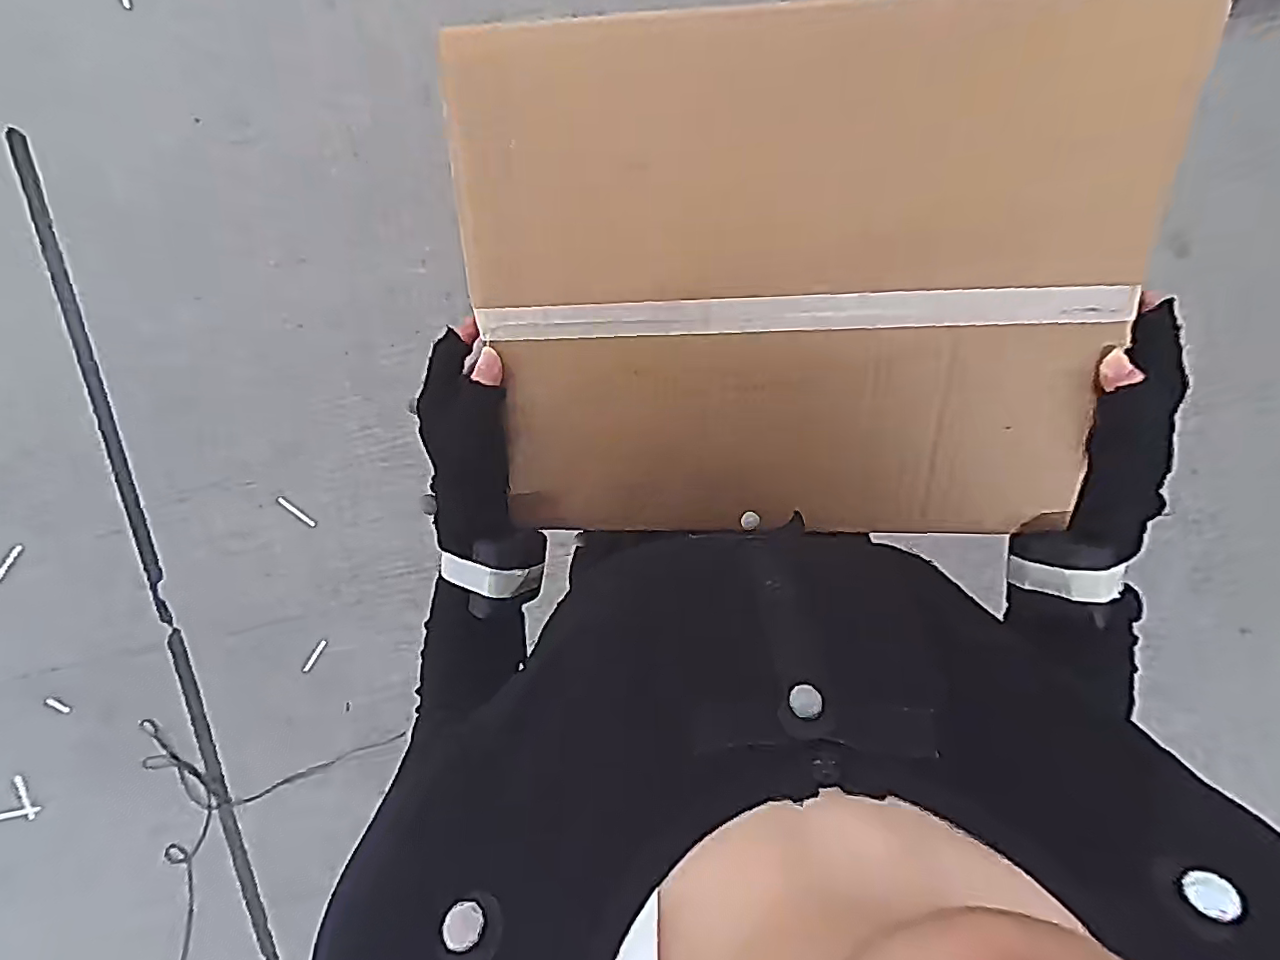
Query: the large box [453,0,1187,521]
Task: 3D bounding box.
[{"bbox_3d":[0.103,-0.171,0.491,0.408,0.320,0.320,0,116,5],"label":"large box"}]
